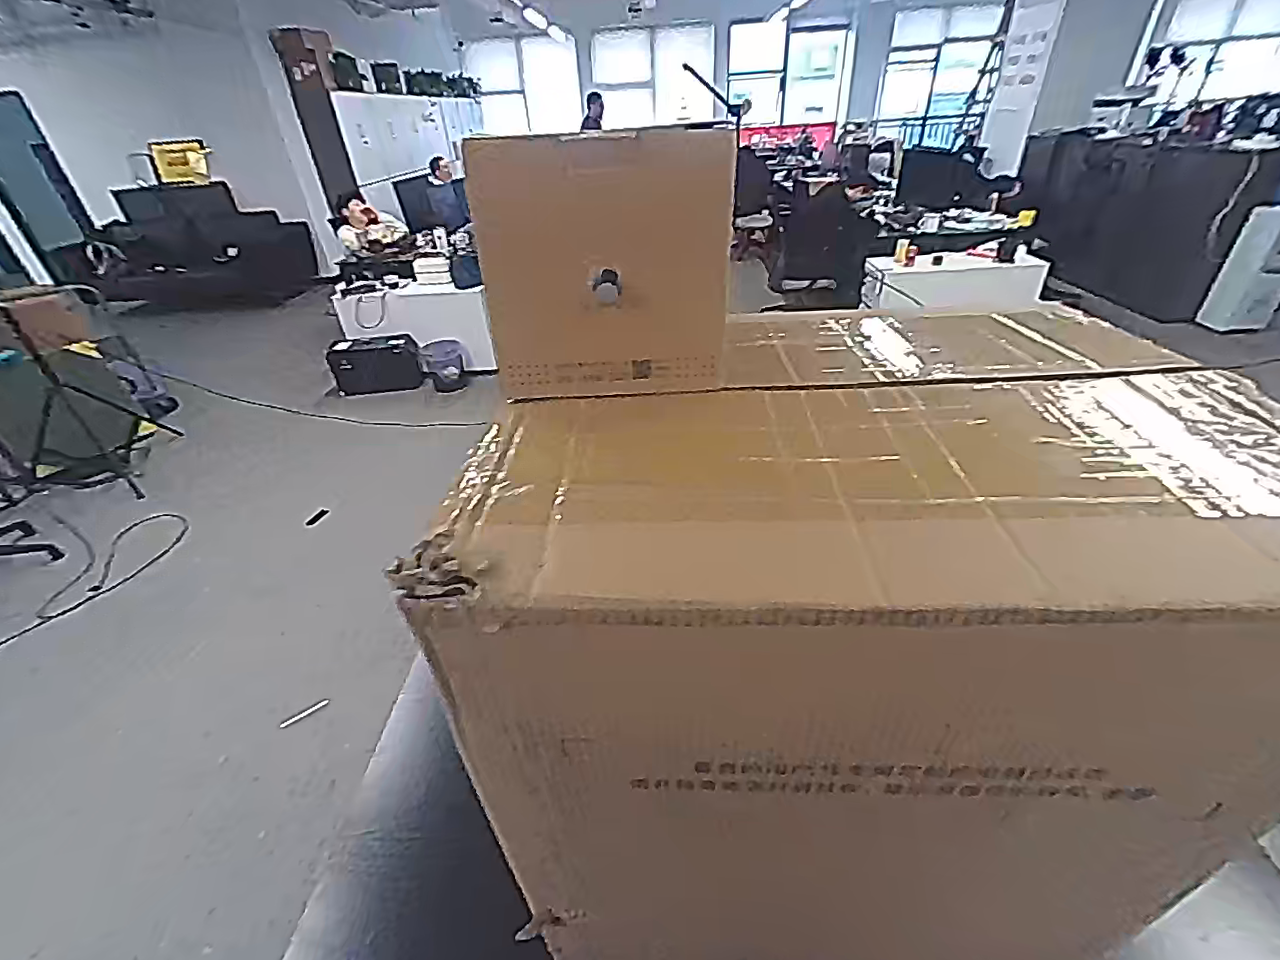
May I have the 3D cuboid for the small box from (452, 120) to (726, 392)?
[{"bbox_3d":[-0.027,-0.175,0.425,0.168,0.176,0.179,-3,33,0],"label":"small box"}]
